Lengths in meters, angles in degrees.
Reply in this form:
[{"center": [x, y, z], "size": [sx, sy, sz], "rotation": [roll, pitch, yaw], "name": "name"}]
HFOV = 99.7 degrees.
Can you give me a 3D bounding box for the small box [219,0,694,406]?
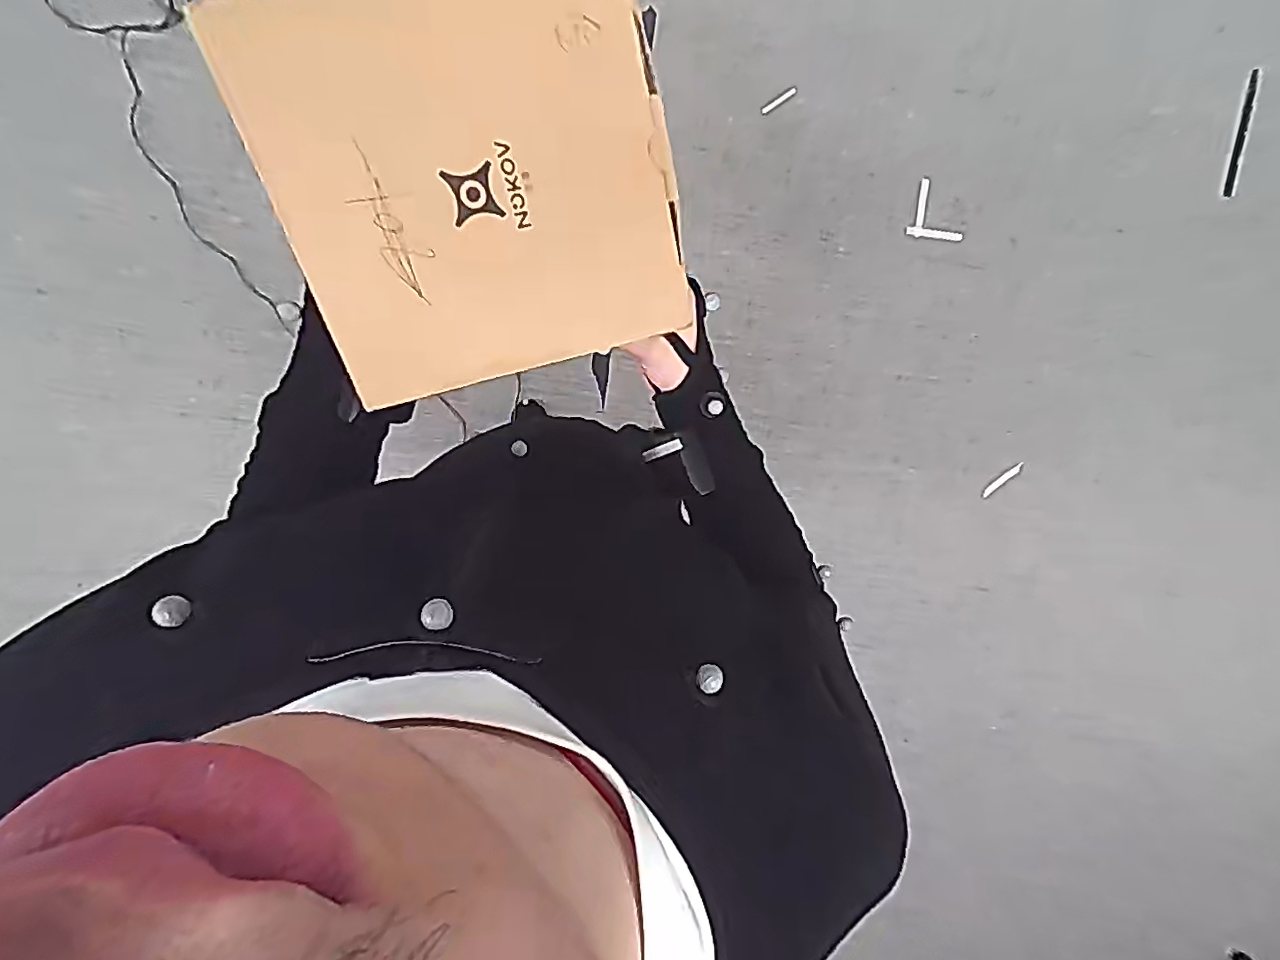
[{"center": [-0.085, -0.162, 0.328], "size": [0.179, 0.176, 0.168], "rotation": [-17, 112, -4], "name": "small box"}]
